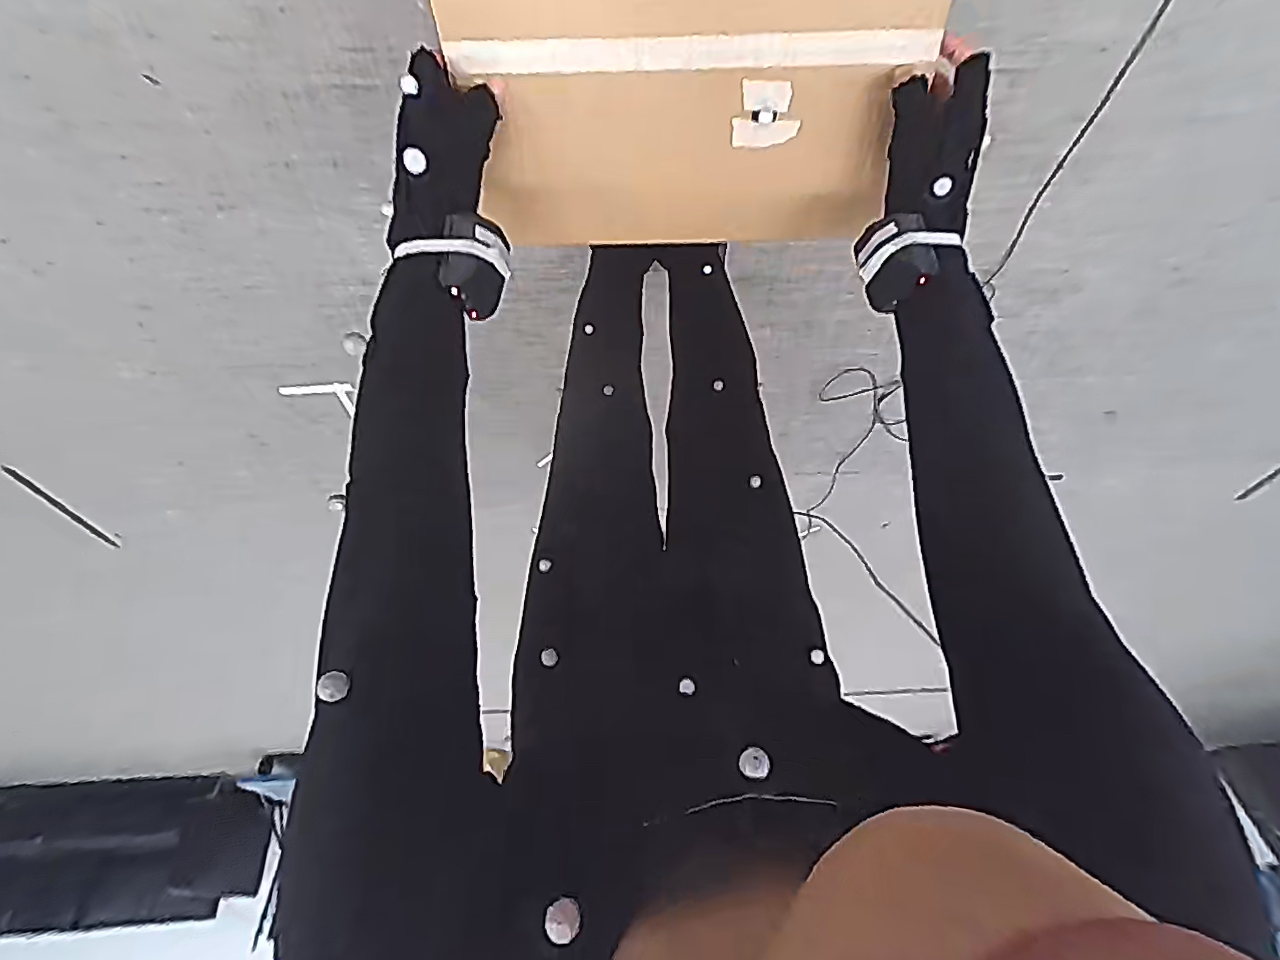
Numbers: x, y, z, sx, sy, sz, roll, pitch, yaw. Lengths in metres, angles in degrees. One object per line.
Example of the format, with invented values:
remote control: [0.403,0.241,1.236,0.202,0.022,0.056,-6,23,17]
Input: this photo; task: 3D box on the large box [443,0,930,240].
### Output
large box: [0.035,-0.475,0.566,0.408,0.320,0.320,-2,136,0]
